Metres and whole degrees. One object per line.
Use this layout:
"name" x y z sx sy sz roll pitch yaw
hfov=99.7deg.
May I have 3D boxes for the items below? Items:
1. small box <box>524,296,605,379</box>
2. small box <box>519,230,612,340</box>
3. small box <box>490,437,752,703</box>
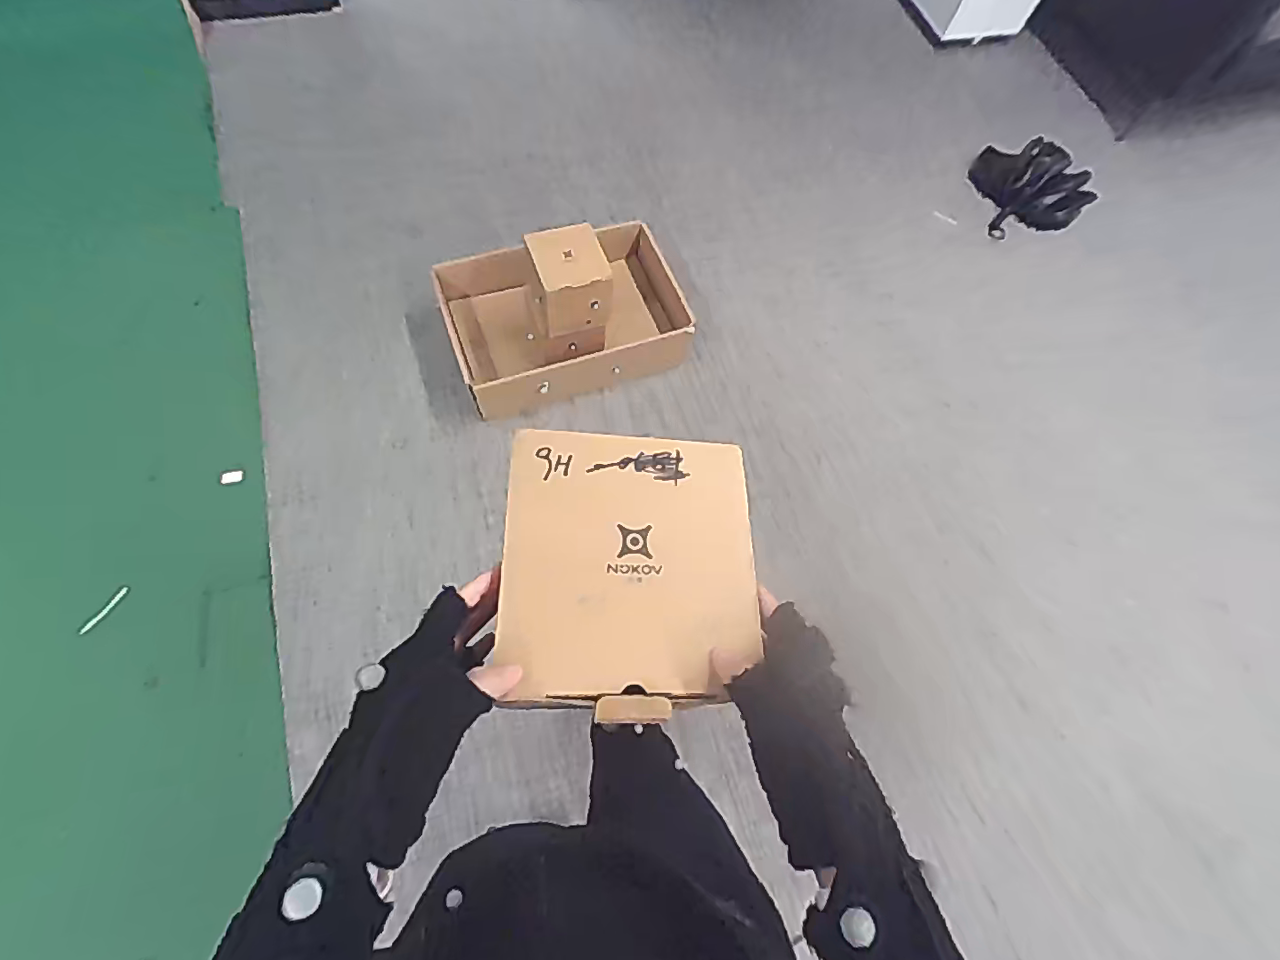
"small box" -0.205 -0.403 1.478 0.179 0.176 0.168 -18 69 -11
"small box" -0.178 -0.463 1.312 0.168 0.176 0.179 -22 72 -15
"small box" -0.021 0.084 0.435 0.168 0.176 0.179 3 66 -9
